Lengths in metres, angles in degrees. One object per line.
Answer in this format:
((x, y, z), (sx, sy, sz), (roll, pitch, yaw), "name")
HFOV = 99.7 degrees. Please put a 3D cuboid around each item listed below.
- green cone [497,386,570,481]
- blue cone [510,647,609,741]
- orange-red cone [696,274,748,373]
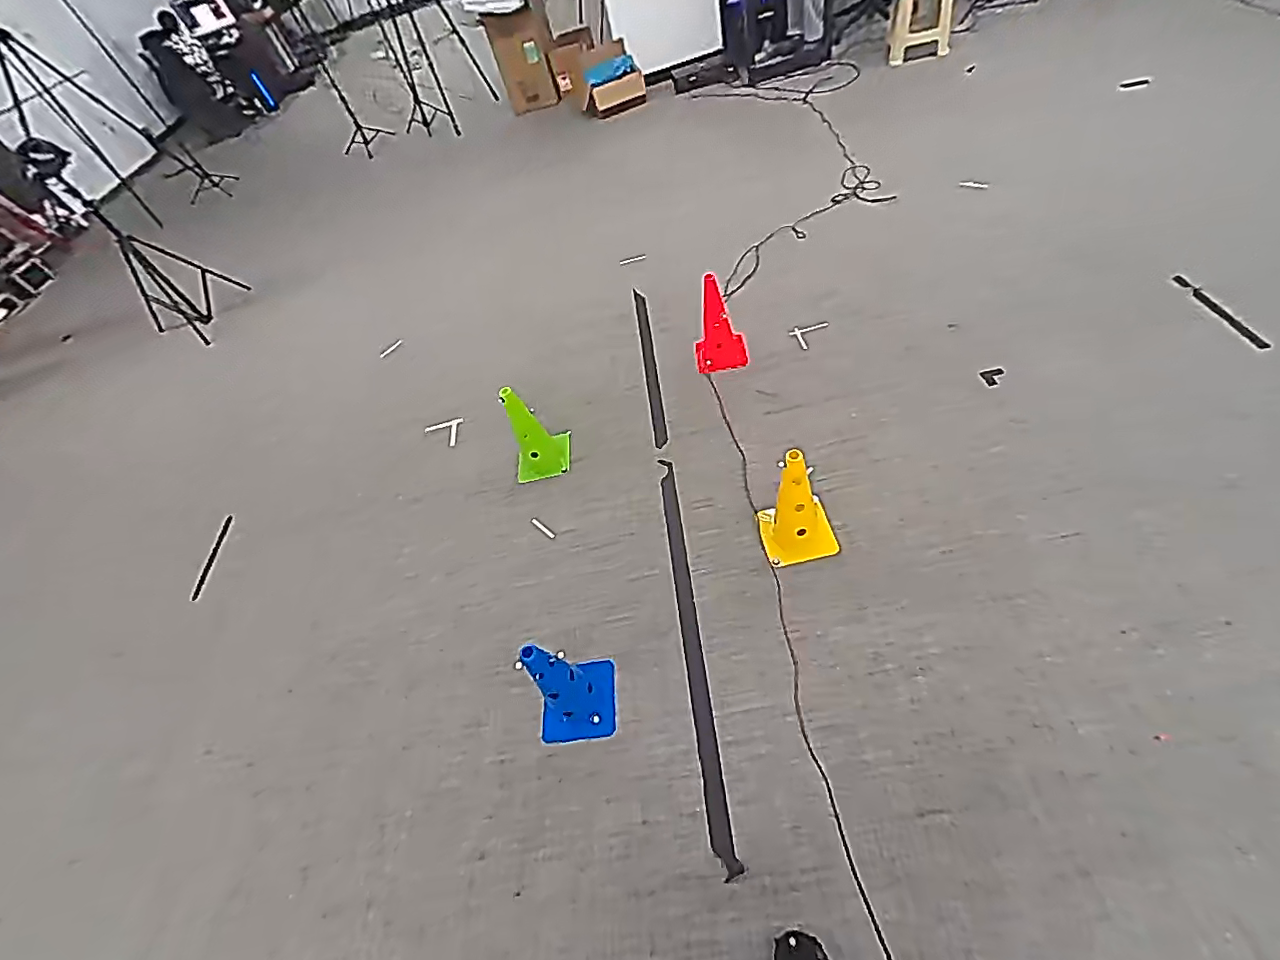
((-0.403, -0.193, 1.909), (0.202, 0.368, 0.200), (-13, 50, 8), "green cone")
((-0.214, 0.493, 1.327), (0.192, 0.380, 0.193), (-10, 50, 10), "blue cone")
((0.287, -0.607, 2.032), (0.199, 0.360, 0.198), (-8, 52, 9), "orange-red cone")
